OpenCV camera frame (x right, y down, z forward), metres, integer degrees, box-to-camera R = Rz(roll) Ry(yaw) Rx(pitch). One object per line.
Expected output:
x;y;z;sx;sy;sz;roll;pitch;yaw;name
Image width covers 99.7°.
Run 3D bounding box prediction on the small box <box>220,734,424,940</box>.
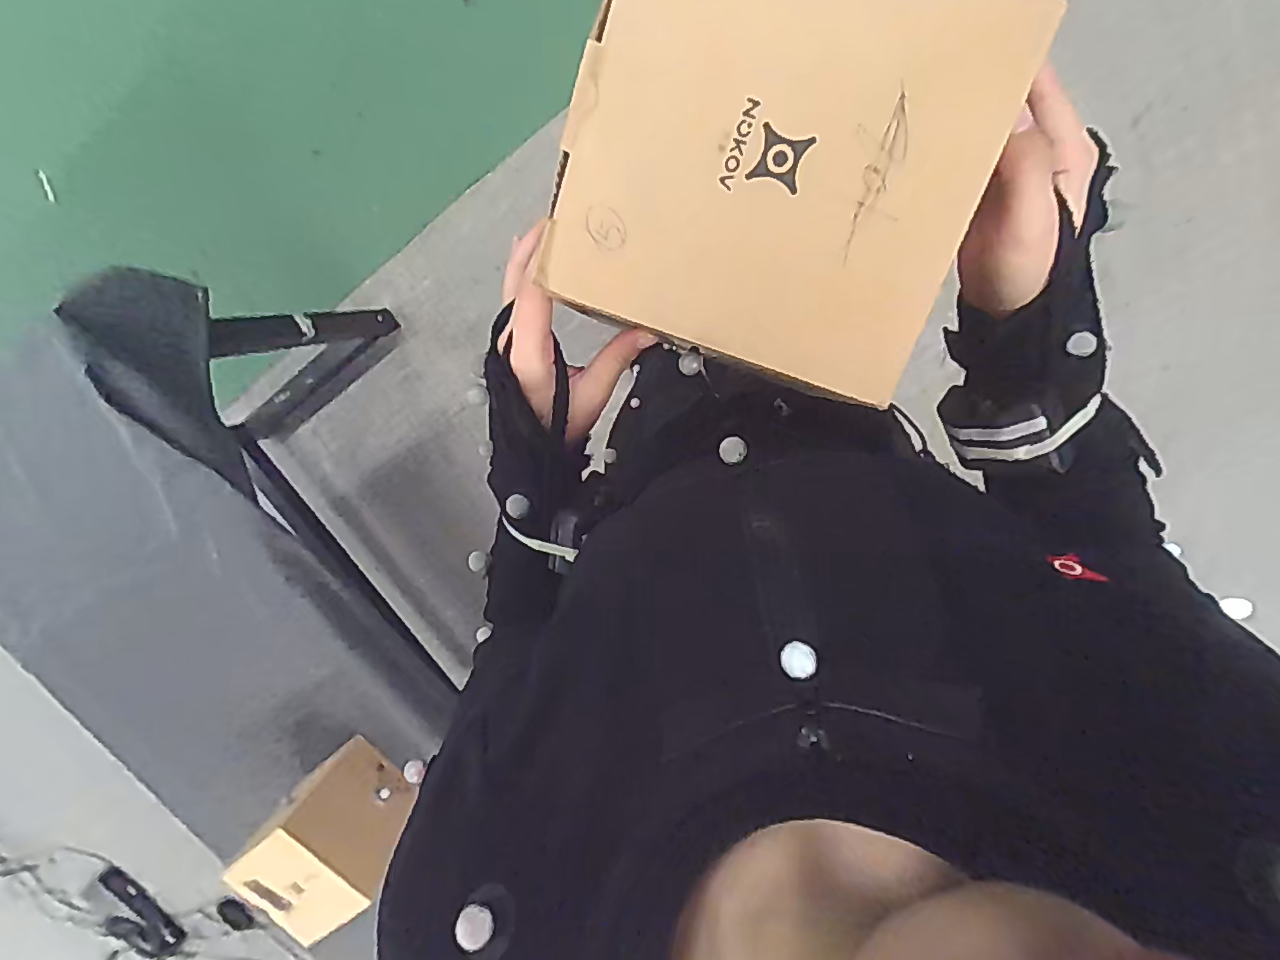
-0.467;0.532;0.820;0.179;0.176;0.168;-41;99;19;small box
